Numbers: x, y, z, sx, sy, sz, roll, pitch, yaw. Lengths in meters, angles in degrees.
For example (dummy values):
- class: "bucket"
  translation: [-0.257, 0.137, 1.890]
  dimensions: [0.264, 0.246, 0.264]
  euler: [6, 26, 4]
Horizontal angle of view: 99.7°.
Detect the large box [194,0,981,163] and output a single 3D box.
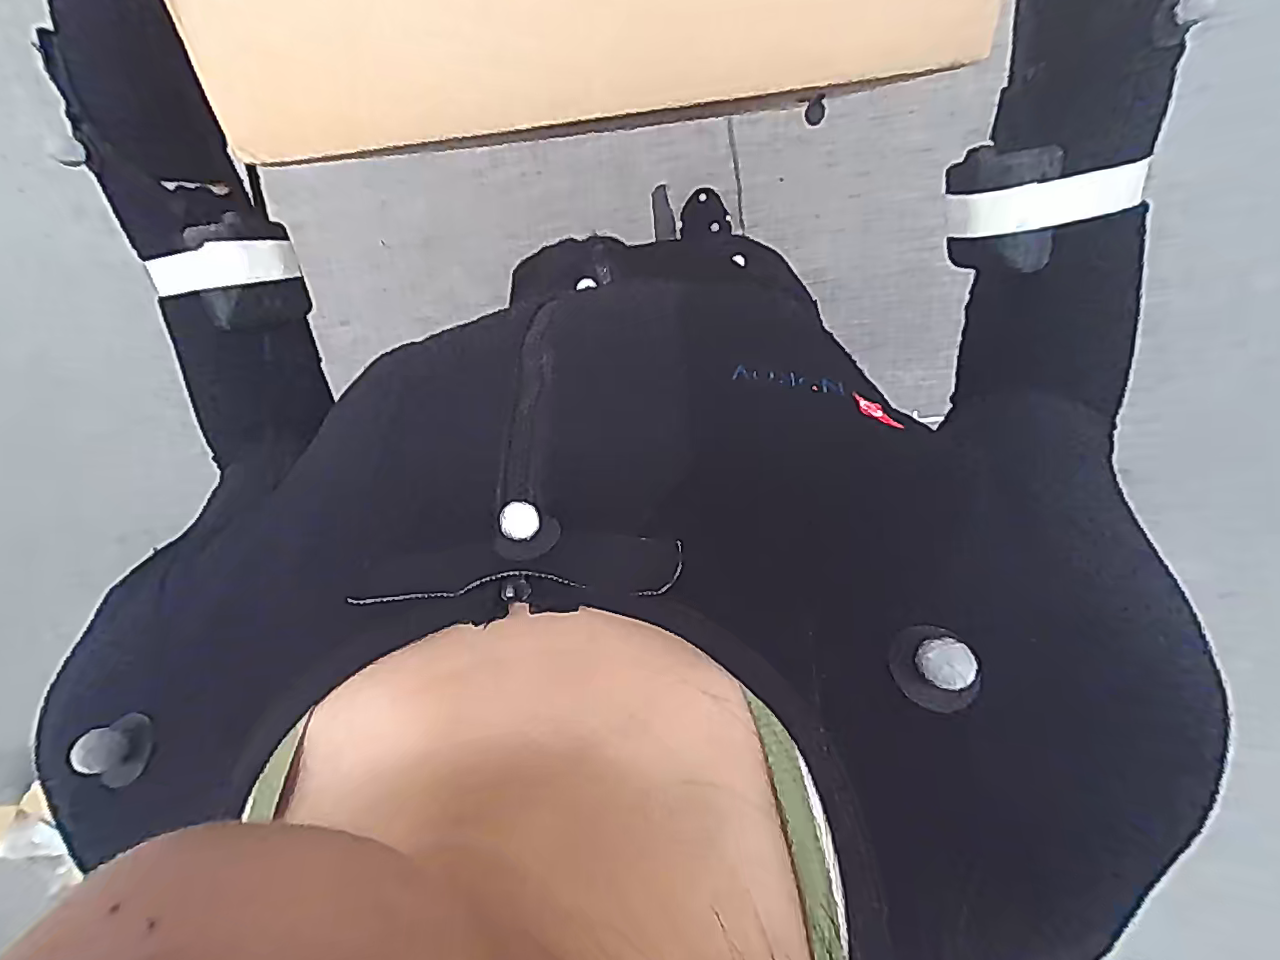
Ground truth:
- class: "large box"
  translation: [-0.035, -0.412, 0.342]
  dimensions: [0.408, 0.320, 0.320]
  euler: [-4, 122, 6]
